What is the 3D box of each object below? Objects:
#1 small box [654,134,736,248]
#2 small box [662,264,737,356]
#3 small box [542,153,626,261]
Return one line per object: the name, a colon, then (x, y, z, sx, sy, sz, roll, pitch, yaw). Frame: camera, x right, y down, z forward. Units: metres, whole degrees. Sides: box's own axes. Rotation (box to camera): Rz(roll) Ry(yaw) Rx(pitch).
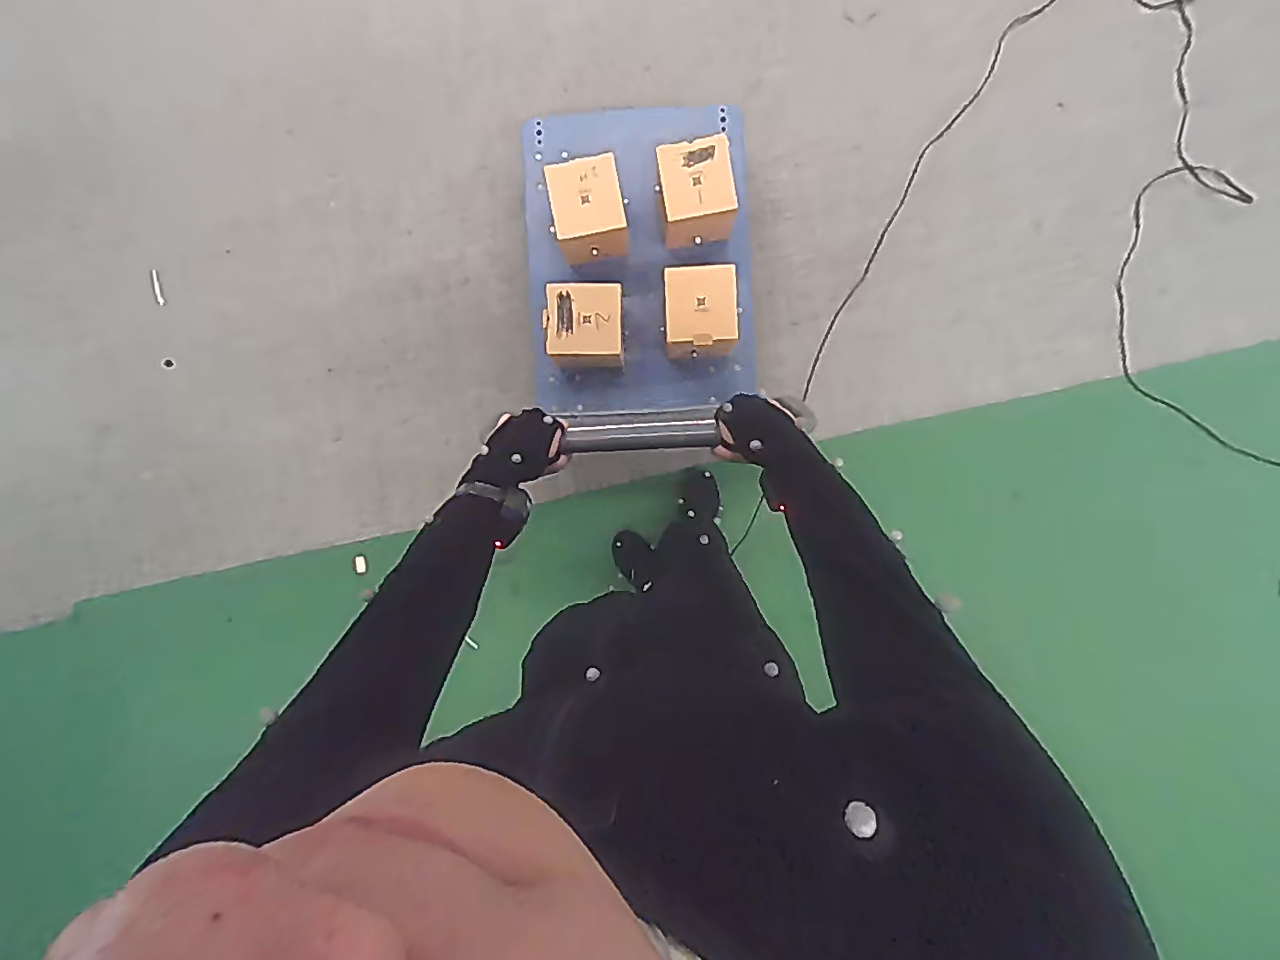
small box: (0.127, -0.696, 1.317, 0.168, 0.176, 0.179, -10, 92, 2)
small box: (0.141, -0.410, 1.326, 0.168, 0.176, 0.179, -3, 92, 1)
small box: (-0.129, -0.654, 1.323, 0.168, 0.176, 0.179, -11, 91, 0)
